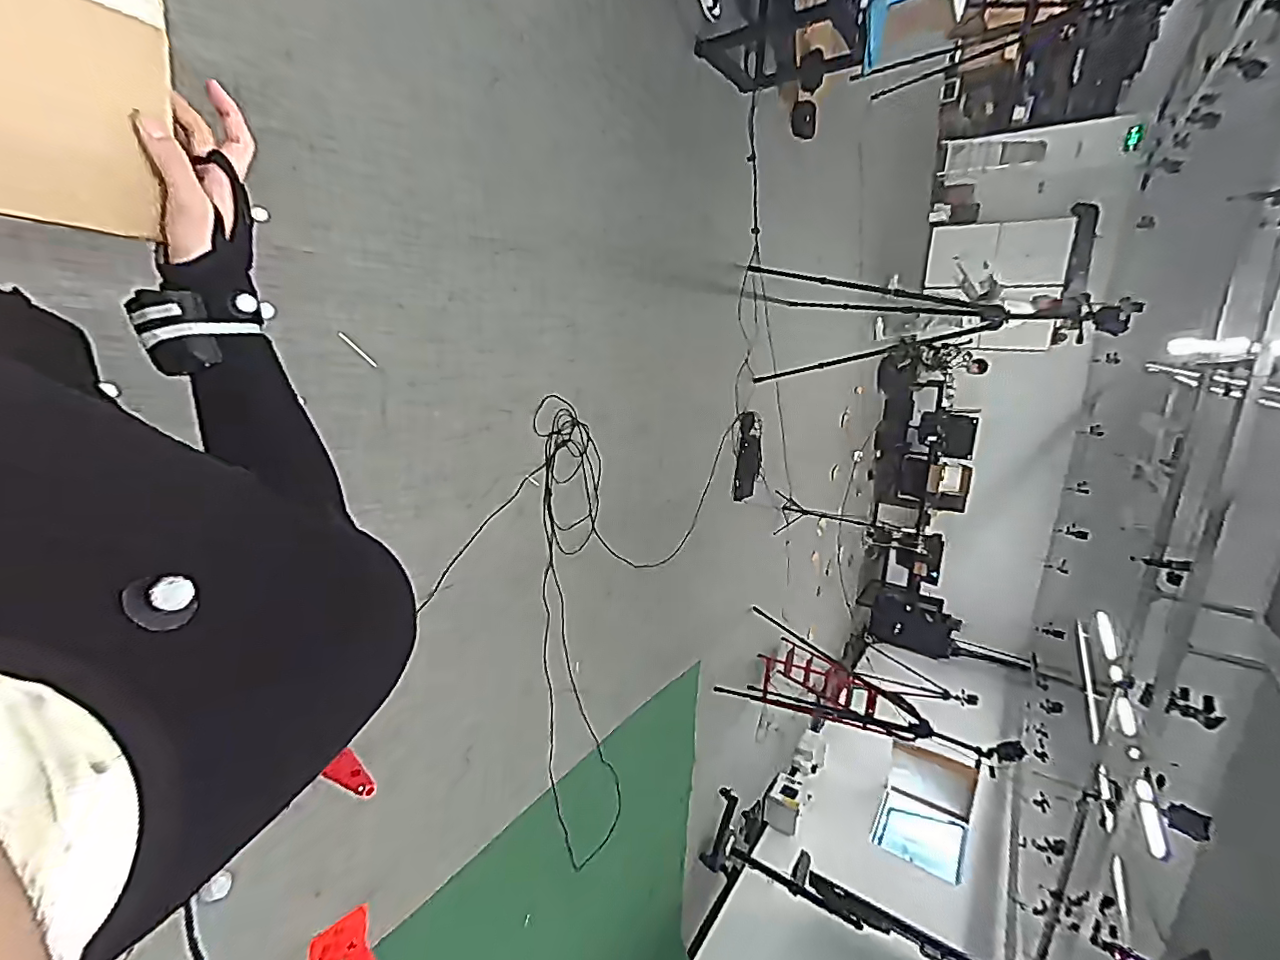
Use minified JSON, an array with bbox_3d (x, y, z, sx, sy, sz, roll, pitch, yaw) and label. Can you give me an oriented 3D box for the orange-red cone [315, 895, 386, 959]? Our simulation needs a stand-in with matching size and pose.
[{"bbox_3d":[-0.925,1.659,1.849,0.199,0.360,0.198,-7,106,-57],"label":"orange-red cone"}]
